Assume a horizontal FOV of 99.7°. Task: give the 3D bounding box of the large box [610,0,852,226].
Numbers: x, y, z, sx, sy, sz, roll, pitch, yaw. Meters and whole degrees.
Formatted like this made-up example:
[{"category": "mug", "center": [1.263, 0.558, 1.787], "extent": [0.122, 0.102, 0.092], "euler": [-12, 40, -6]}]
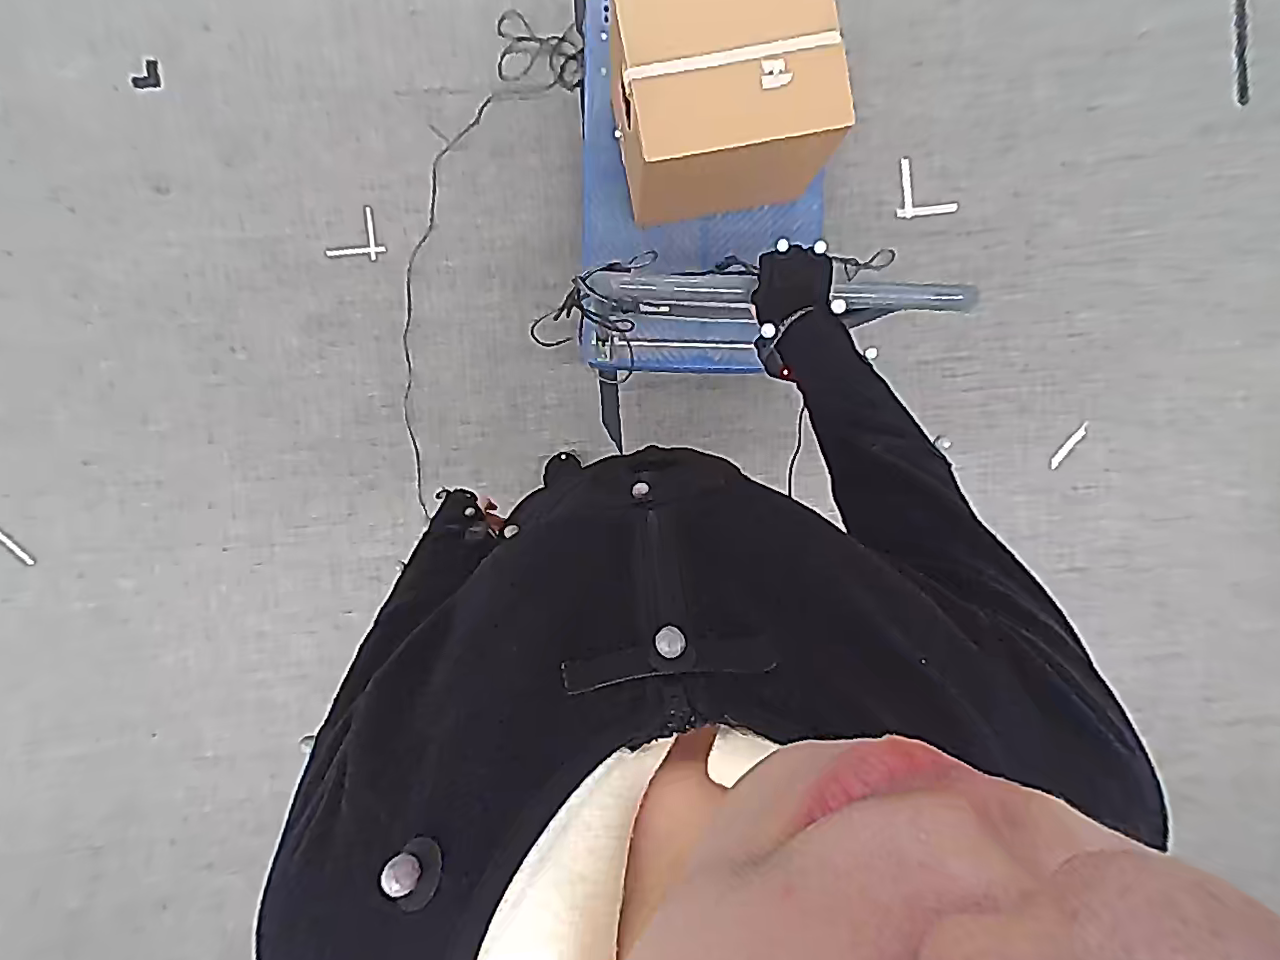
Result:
[{"category": "large box", "center": [0.163, -0.782, 1.136], "extent": [0.408, 0.320, 0.320], "euler": [-12, 94, -3]}]
